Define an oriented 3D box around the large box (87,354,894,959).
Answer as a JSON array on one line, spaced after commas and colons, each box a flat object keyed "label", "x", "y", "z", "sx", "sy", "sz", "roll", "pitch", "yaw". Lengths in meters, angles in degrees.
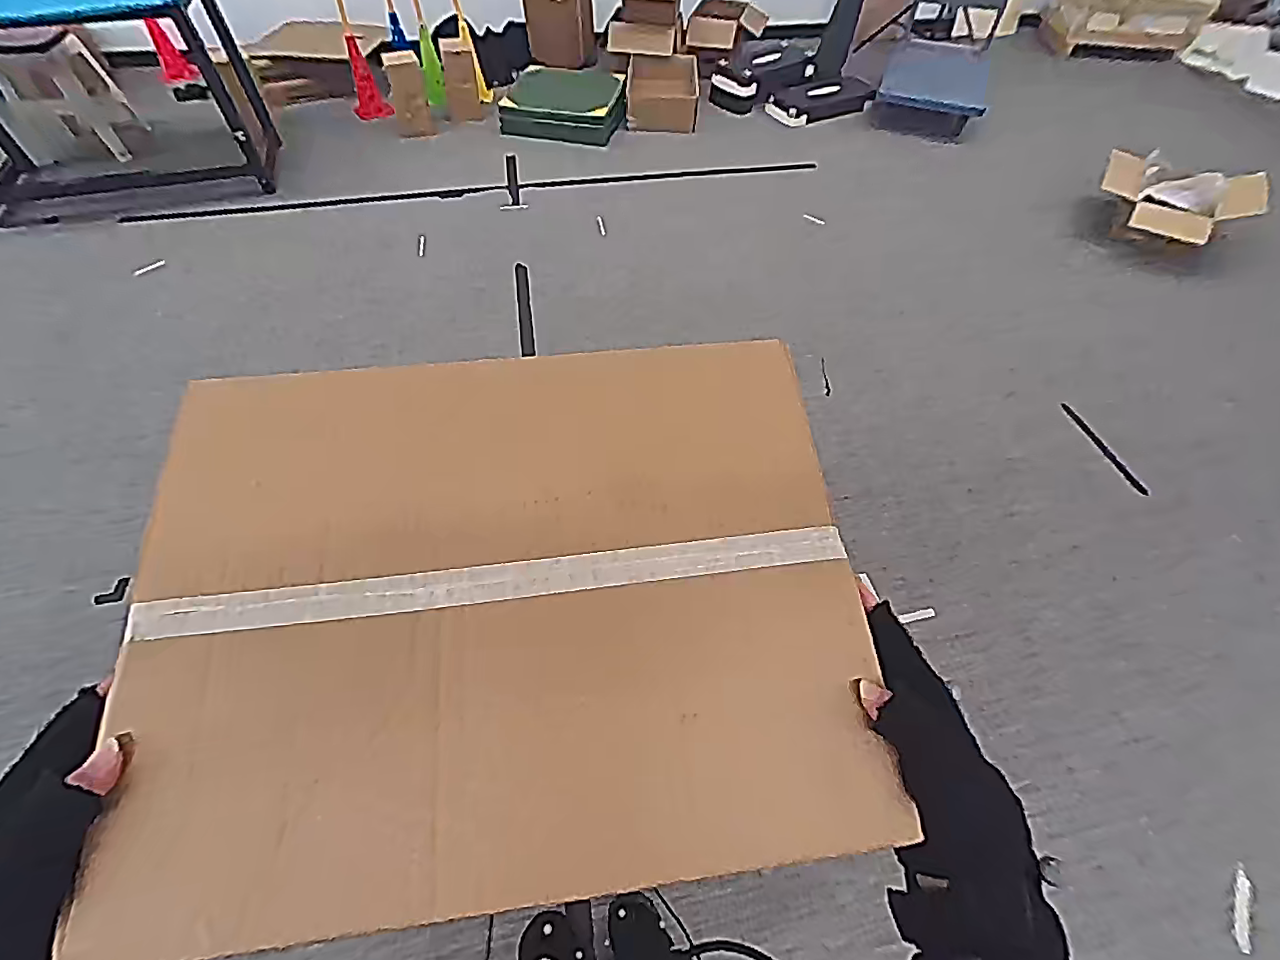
[{"label": "large box", "x": -0.085, "y": 0.125, "z": 0.458, "sx": 0.408, "sy": 0.320, "sz": 0.320, "roll": -6, "pitch": 67, "yaw": -5}]
